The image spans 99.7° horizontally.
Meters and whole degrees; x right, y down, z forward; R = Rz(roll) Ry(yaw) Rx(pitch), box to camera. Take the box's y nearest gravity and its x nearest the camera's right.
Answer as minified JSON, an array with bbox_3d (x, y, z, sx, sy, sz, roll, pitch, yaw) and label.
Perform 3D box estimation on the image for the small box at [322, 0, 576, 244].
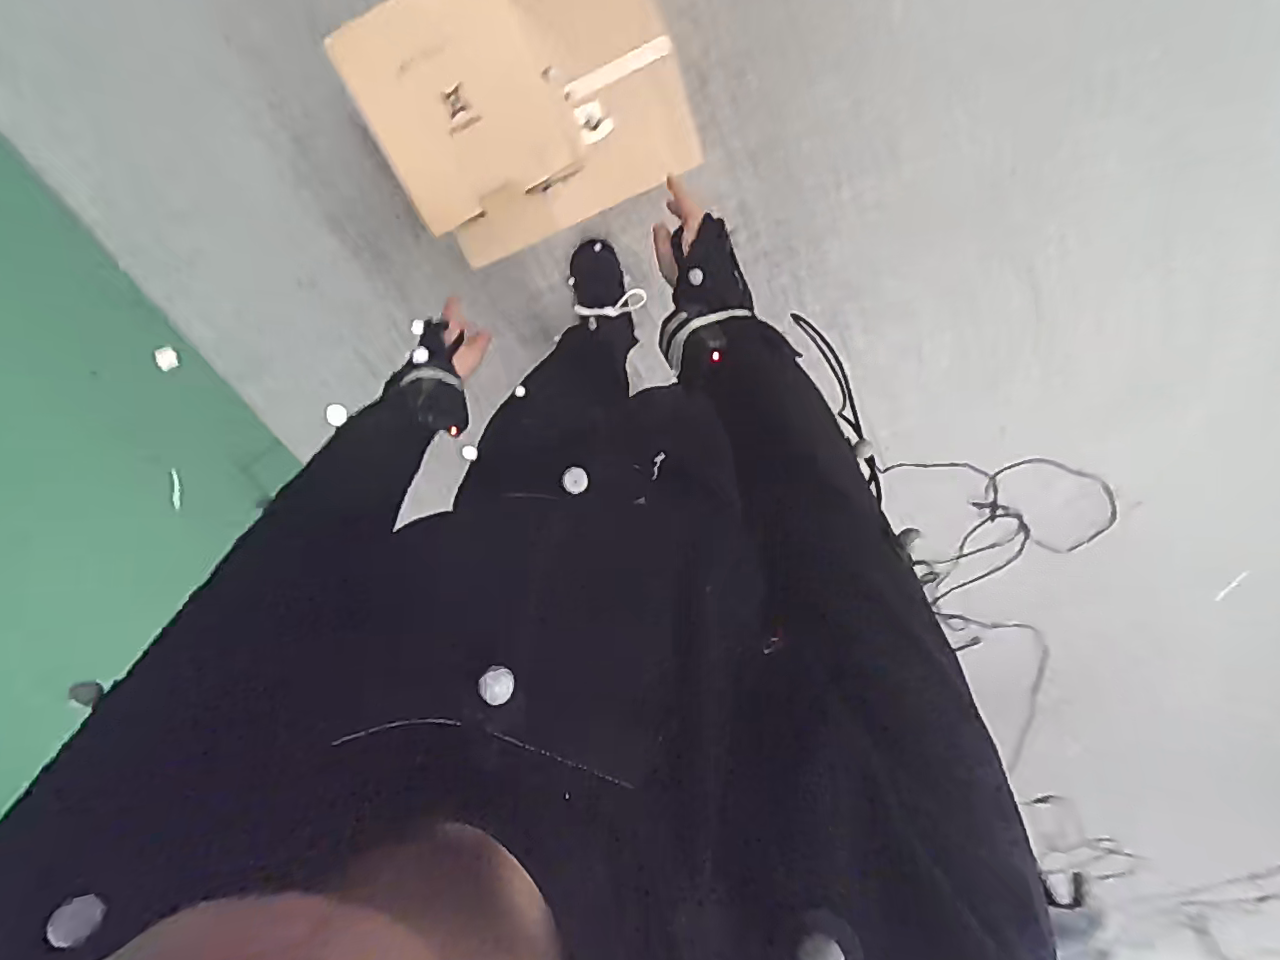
[{"bbox_3d":[-0.176,-0.377,0.570,0.168,0.176,0.179,-23,117,8],"label":"small box"}]

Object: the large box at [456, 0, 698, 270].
[{"bbox_3d":[-0.159,-0.605,0.911,0.408,0.320,0.320,-22,119,8],"label":"large box"}]
